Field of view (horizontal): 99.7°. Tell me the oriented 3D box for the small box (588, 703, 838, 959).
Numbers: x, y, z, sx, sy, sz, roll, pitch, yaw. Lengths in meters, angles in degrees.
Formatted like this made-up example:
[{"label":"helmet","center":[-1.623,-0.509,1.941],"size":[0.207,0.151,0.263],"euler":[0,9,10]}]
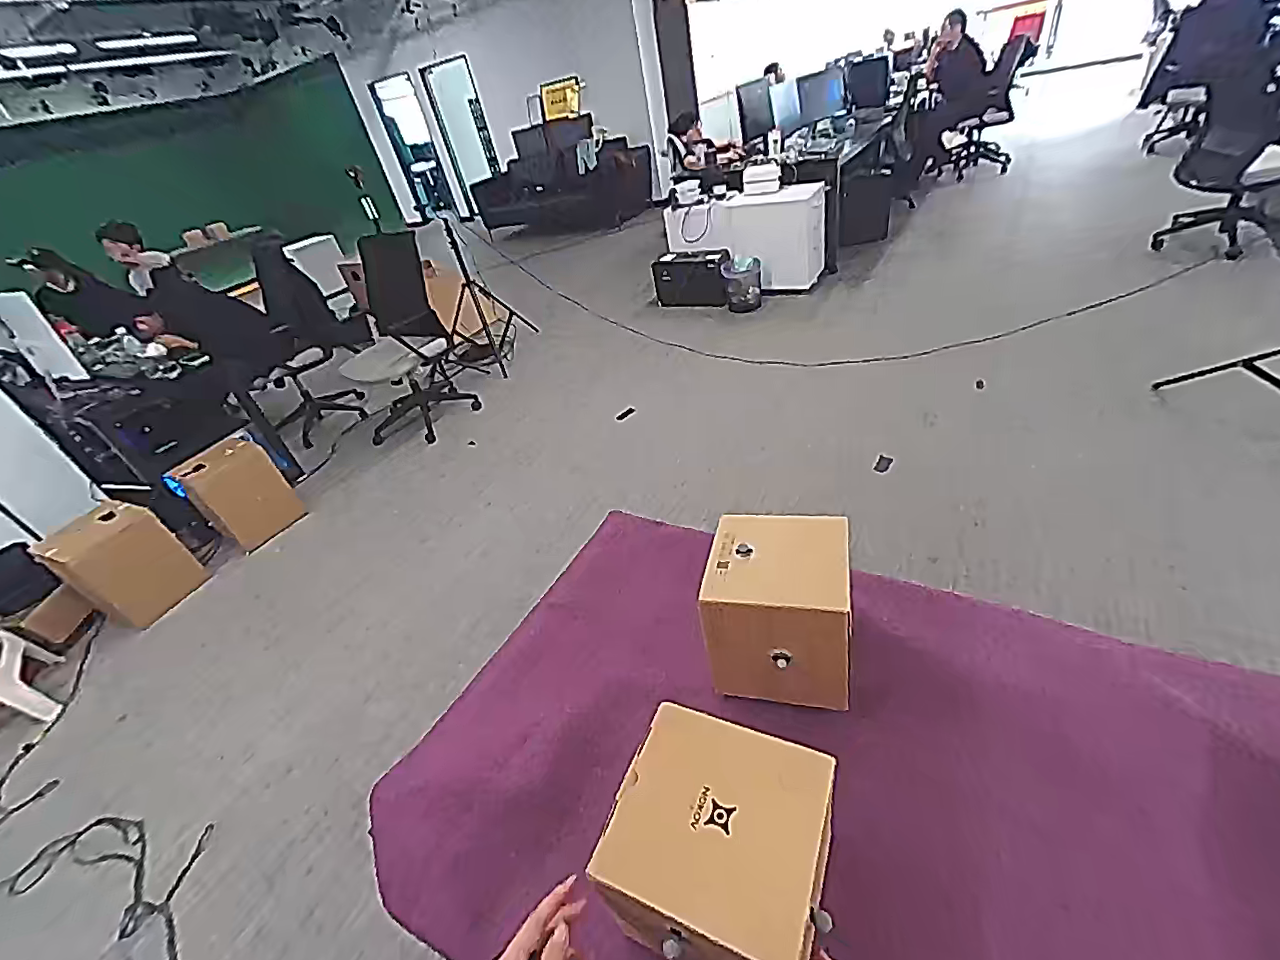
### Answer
[{"label":"small box","center":[0.082,0.349,0.510],"size":[0.179,0.176,0.168],"euler":[7,40,27]}]
